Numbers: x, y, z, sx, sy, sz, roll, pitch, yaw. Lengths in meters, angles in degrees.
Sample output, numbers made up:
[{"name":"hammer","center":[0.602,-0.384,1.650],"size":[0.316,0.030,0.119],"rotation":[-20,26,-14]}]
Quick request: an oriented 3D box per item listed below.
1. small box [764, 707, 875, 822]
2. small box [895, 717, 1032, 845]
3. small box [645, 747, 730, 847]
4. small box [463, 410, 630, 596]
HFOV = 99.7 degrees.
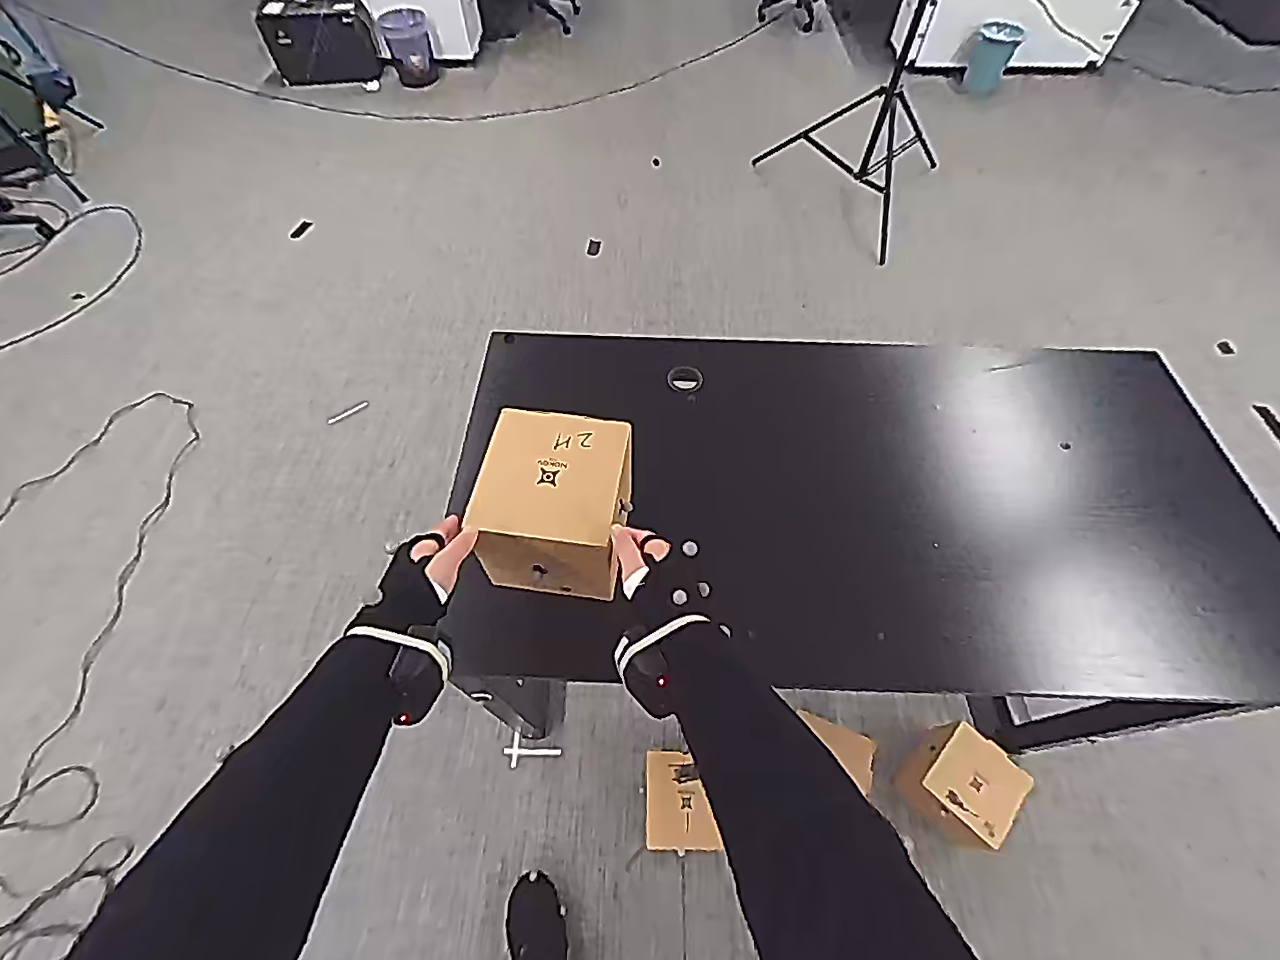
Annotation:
[{"name":"small box","center":[0.391,0.630,1.196],"size":[0.179,0.176,0.168],"rotation":[18,59,12]},{"name":"small box","center":[0.692,0.653,1.179],"size":[0.168,0.176,0.179],"rotation":[40,66,22]},{"name":"small box","center":[0.095,0.679,1.161],"size":[0.168,0.176,0.179],"rotation":[0,59,0]},{"name":"small box","center":[-0.105,0.036,0.702],"size":[0.168,0.176,0.179],"rotation":[7,57,3]}]
